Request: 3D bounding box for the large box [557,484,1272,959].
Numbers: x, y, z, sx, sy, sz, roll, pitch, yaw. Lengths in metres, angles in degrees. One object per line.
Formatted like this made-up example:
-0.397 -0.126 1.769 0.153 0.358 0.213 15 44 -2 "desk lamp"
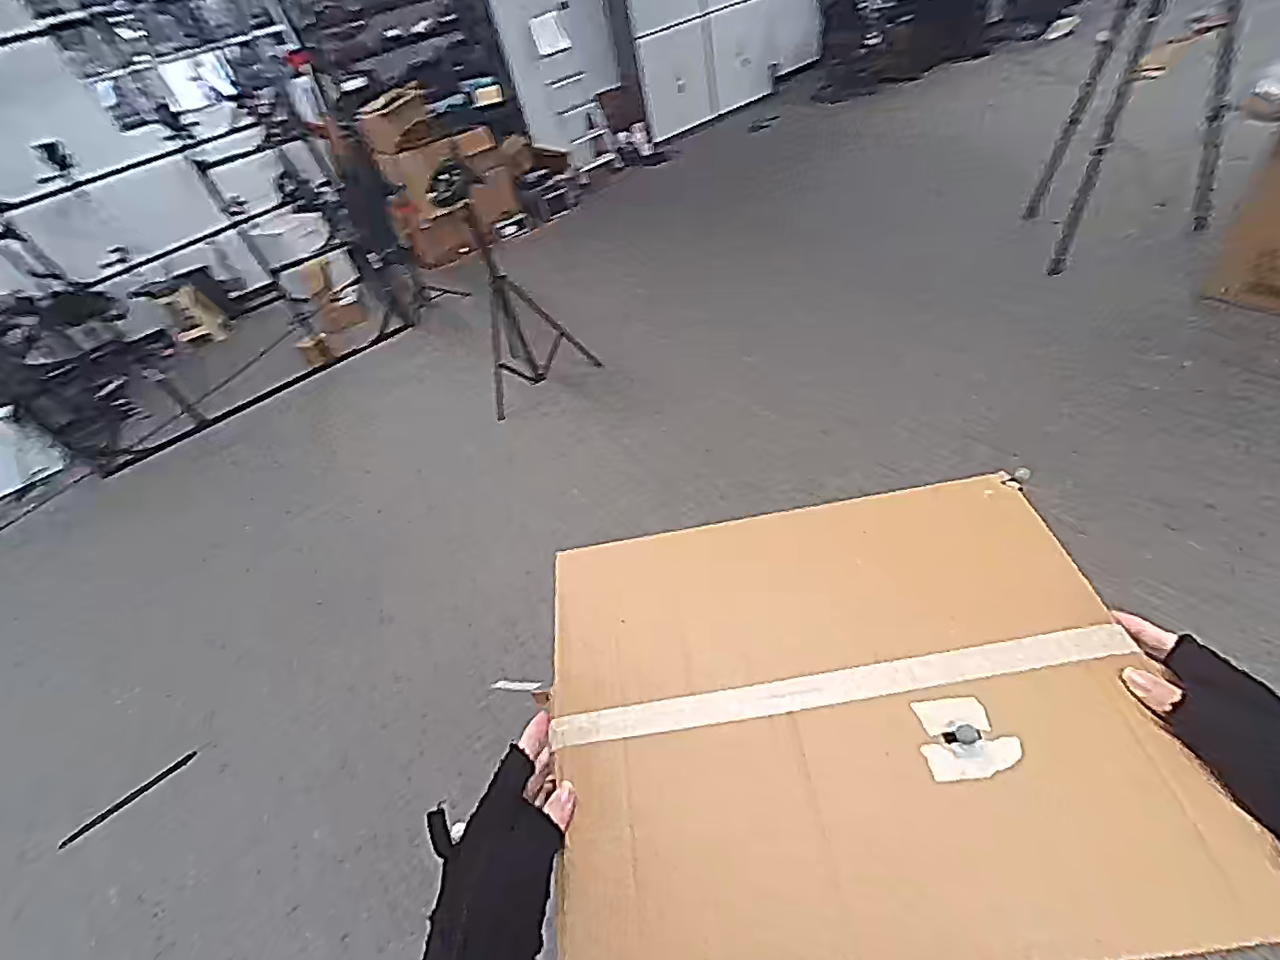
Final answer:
0.157 0.250 0.510 0.408 0.320 0.320 -11 50 2 "large box"
